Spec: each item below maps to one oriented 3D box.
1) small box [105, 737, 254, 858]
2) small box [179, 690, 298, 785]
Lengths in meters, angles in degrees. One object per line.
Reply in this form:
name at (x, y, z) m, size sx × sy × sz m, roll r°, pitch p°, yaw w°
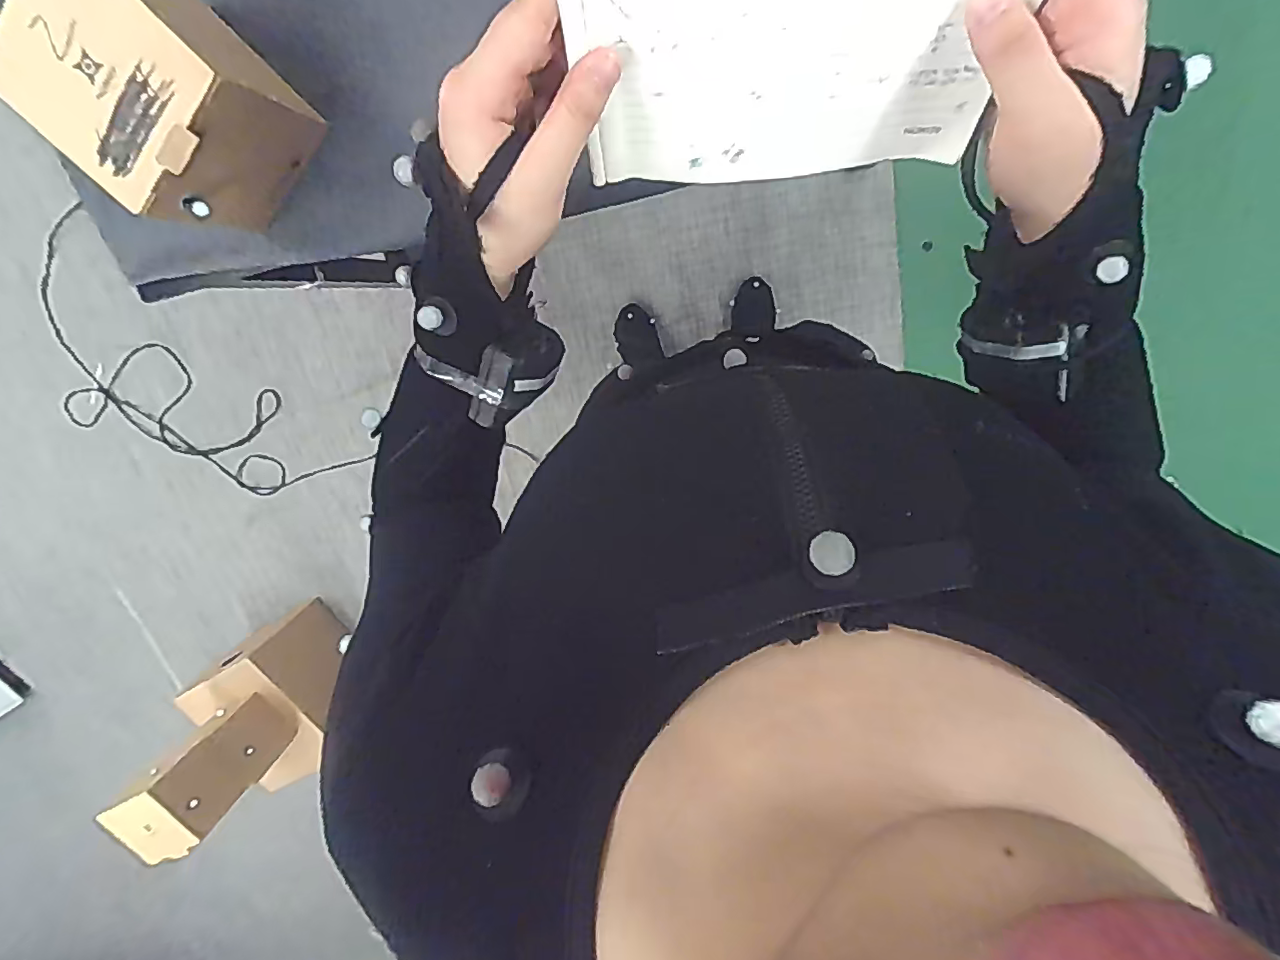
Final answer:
small box at (-1.097, 0.753, 1.304) m, size 0.168 × 0.176 × 0.179 m, roll -28°, pitch 106°, yaw 12°
small box at (-1.081, 0.710, 1.460) m, size 0.168 × 0.176 × 0.179 m, roll -28°, pitch 105°, yaw 12°
